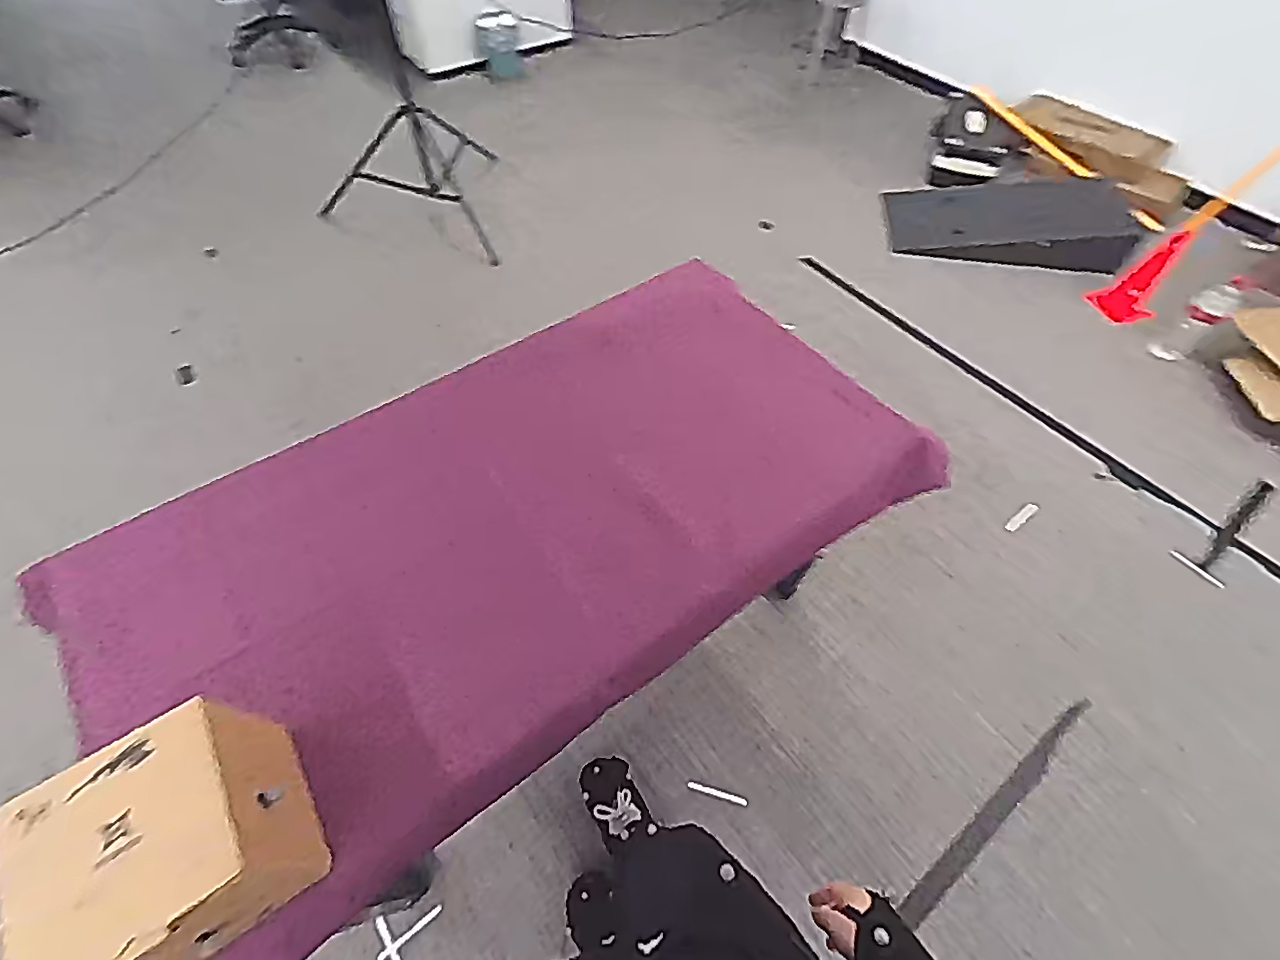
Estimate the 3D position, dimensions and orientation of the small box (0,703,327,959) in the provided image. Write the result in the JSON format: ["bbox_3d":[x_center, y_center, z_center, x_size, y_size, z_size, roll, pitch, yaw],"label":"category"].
[{"bbox_3d":[-0.443,0.354,0.528,0.168,0.176,0.179,-31,63,-21],"label":"small box"}]
